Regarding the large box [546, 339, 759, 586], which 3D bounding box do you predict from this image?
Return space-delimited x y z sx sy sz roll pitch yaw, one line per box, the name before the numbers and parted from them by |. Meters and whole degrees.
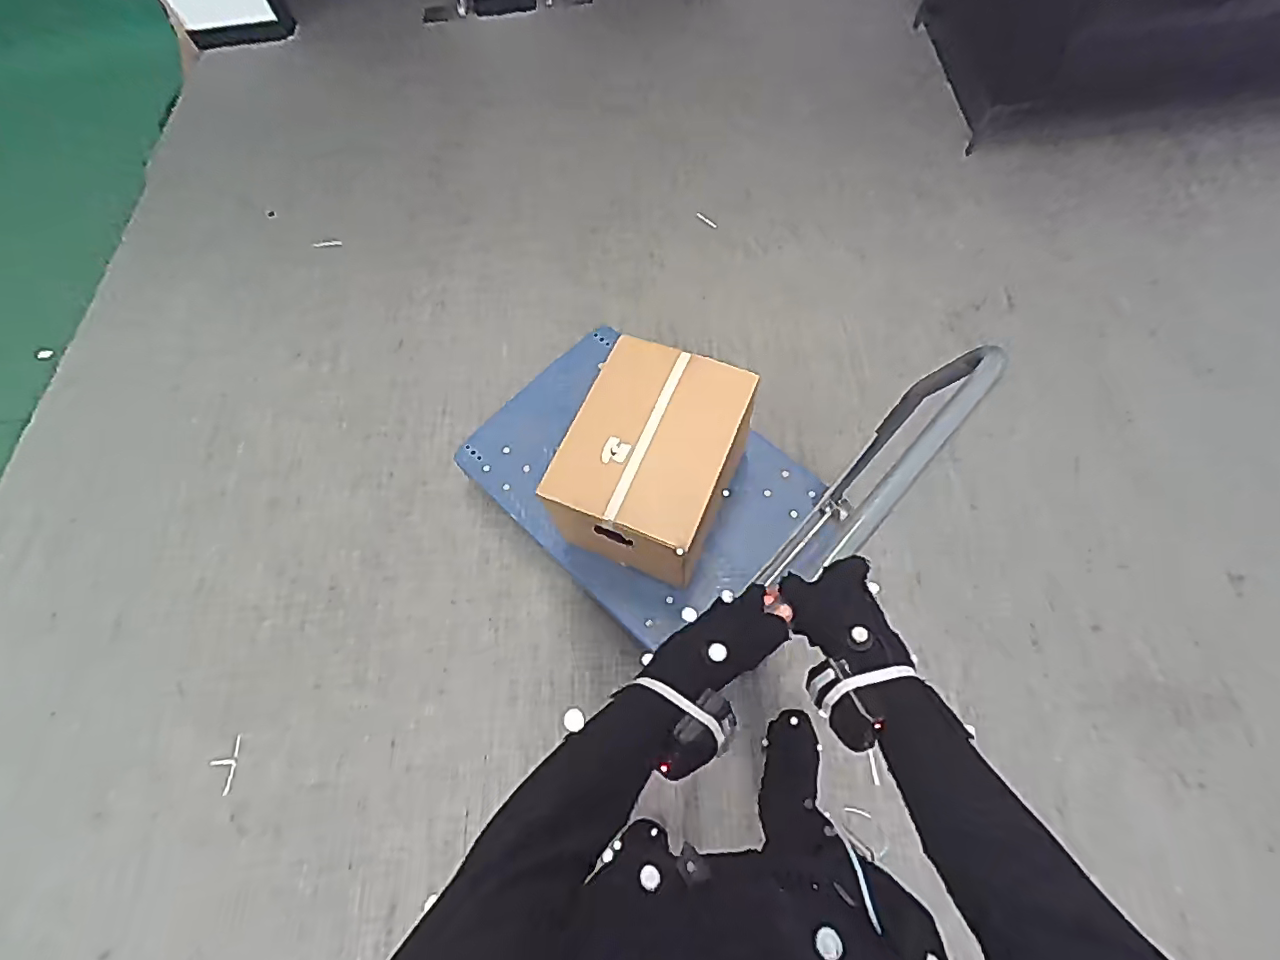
large box | 0.042 -0.029 1.203 0.320 0.320 0.408 20 70 13
